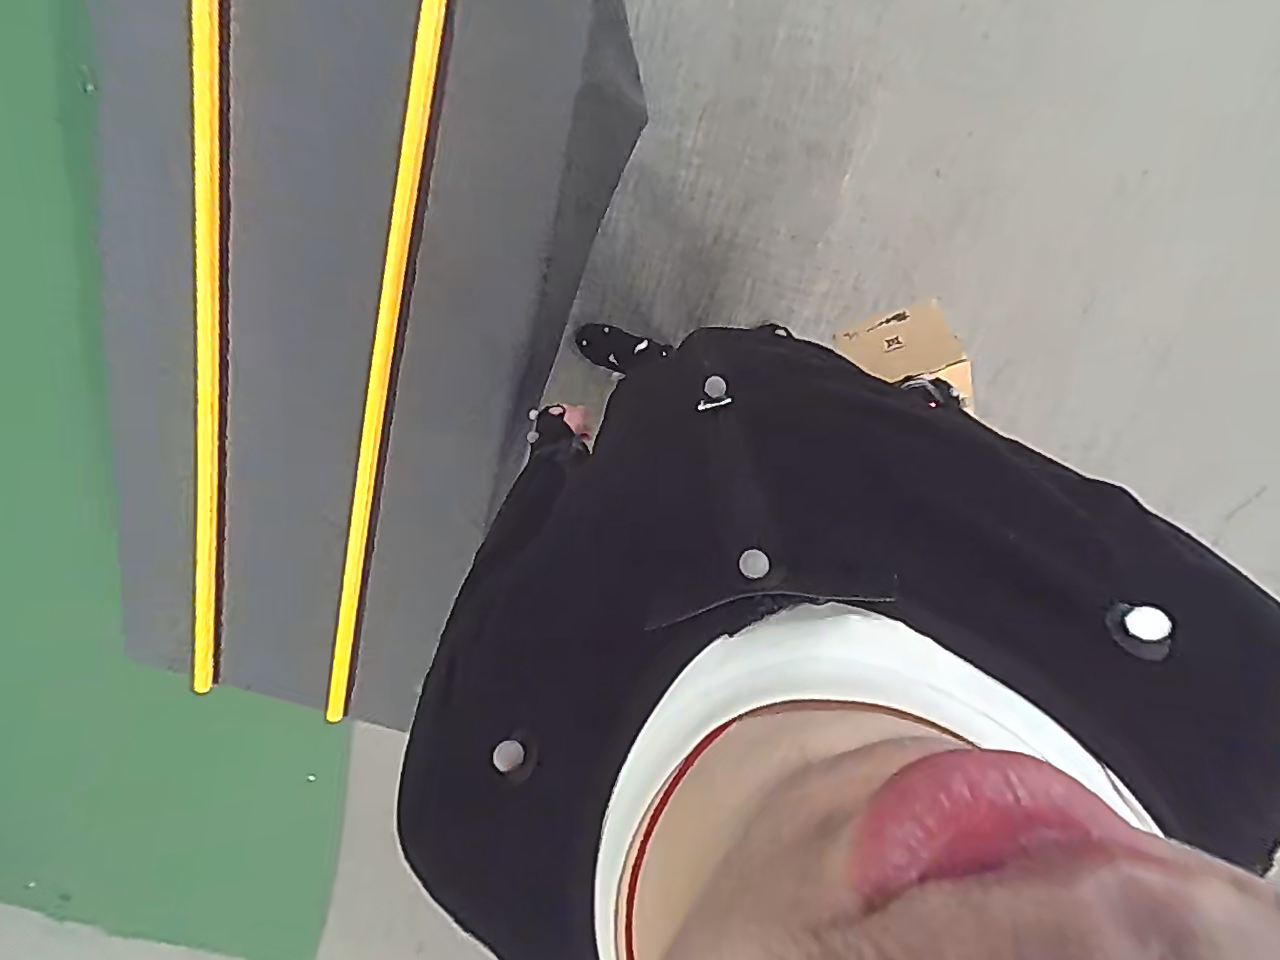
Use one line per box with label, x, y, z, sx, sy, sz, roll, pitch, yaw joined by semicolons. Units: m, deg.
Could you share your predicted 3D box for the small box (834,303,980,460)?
small box;0.446;-0.154;0.906;0.168;0.179;0.176;-20;132;21
